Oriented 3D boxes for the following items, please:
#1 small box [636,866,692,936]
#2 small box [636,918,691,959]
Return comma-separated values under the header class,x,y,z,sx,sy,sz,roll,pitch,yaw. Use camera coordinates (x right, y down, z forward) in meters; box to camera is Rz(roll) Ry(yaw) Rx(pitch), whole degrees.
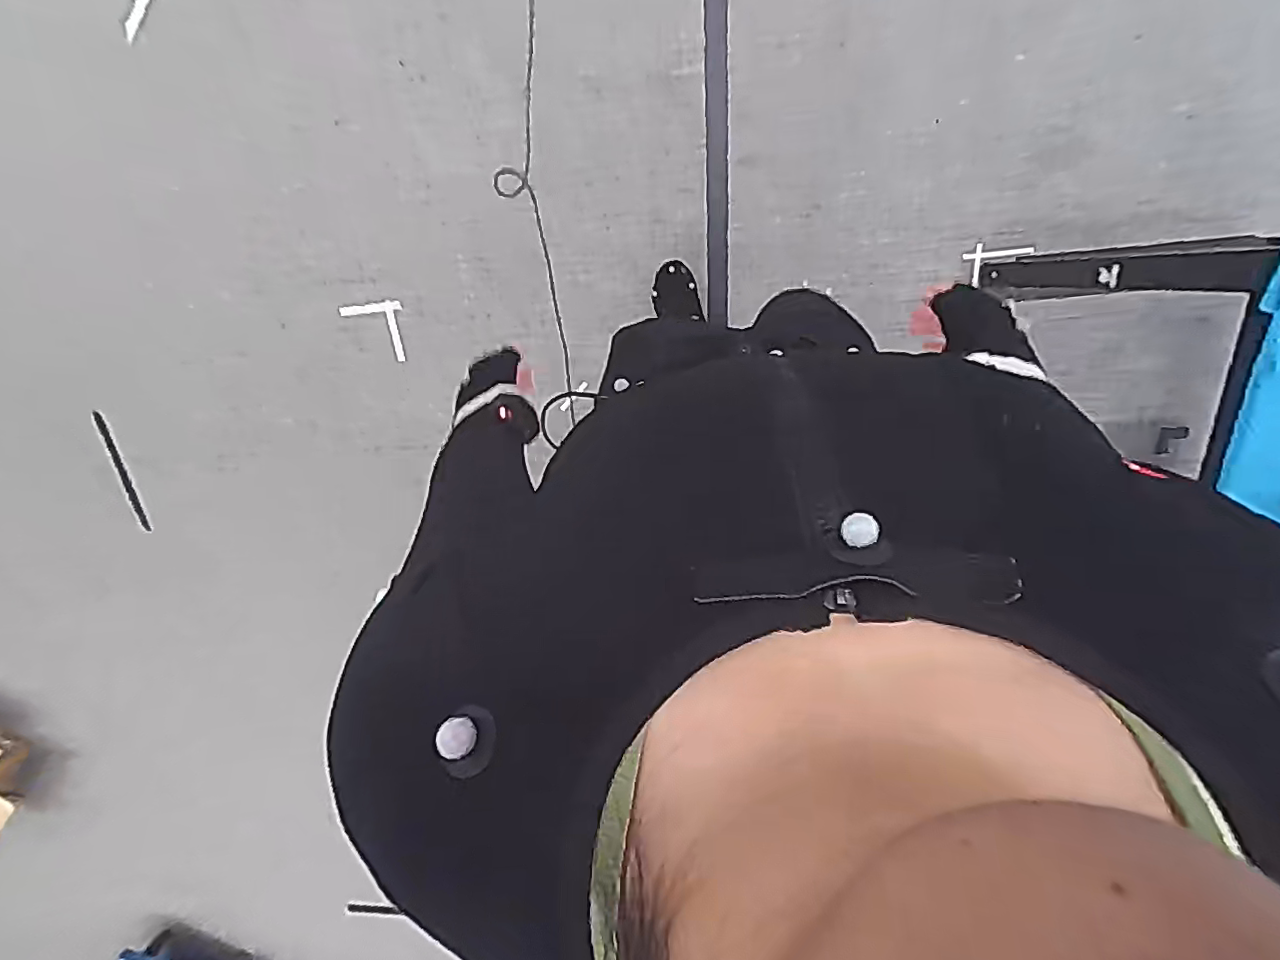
class,x,y,z,sx,sy,sz,roll,pitch,yaw
small box,0.097,1.623,2.066,0.179,0.176,0.168,14,113,3
small box,0.083,1.708,1.922,0.179,0.176,0.168,12,111,3
